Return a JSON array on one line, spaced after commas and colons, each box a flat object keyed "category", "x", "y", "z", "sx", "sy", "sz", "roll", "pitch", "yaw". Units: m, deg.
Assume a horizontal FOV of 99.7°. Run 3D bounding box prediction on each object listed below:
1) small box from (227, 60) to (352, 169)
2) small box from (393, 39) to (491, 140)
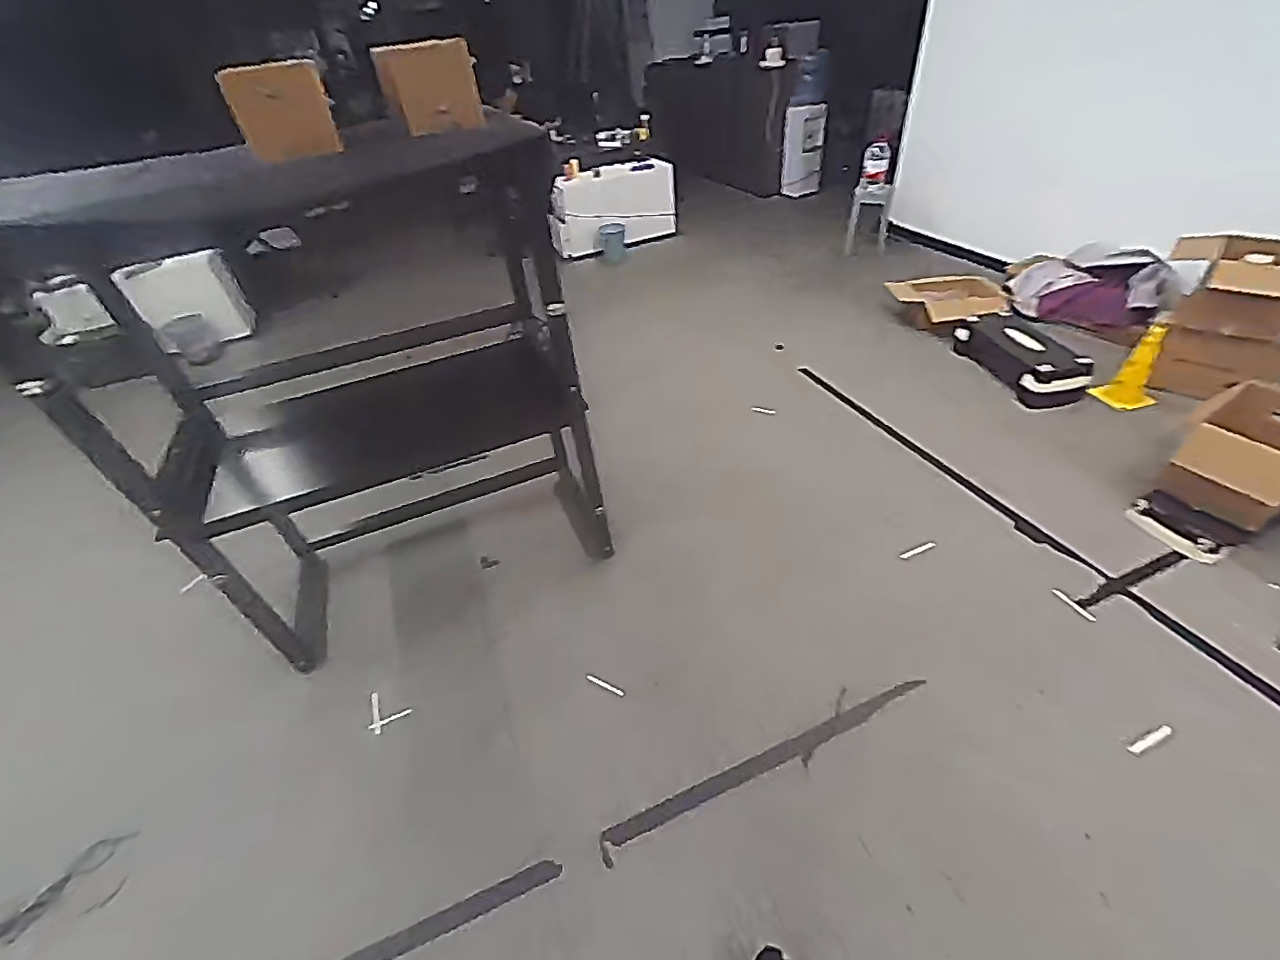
[{"category": "small box", "x": -0.753, "y": -0.804, "z": 1.187, "sx": 0.179, "sy": 0.176, "sz": 0.168, "roll": -20, "pitch": 42, "yaw": -13}, {"category": "small box", "x": -0.450, "y": -0.902, "z": 1.251, "sx": 0.168, "sy": 0.176, "sz": 0.179, "roll": -15, "pitch": 41, "yaw": -7}]
